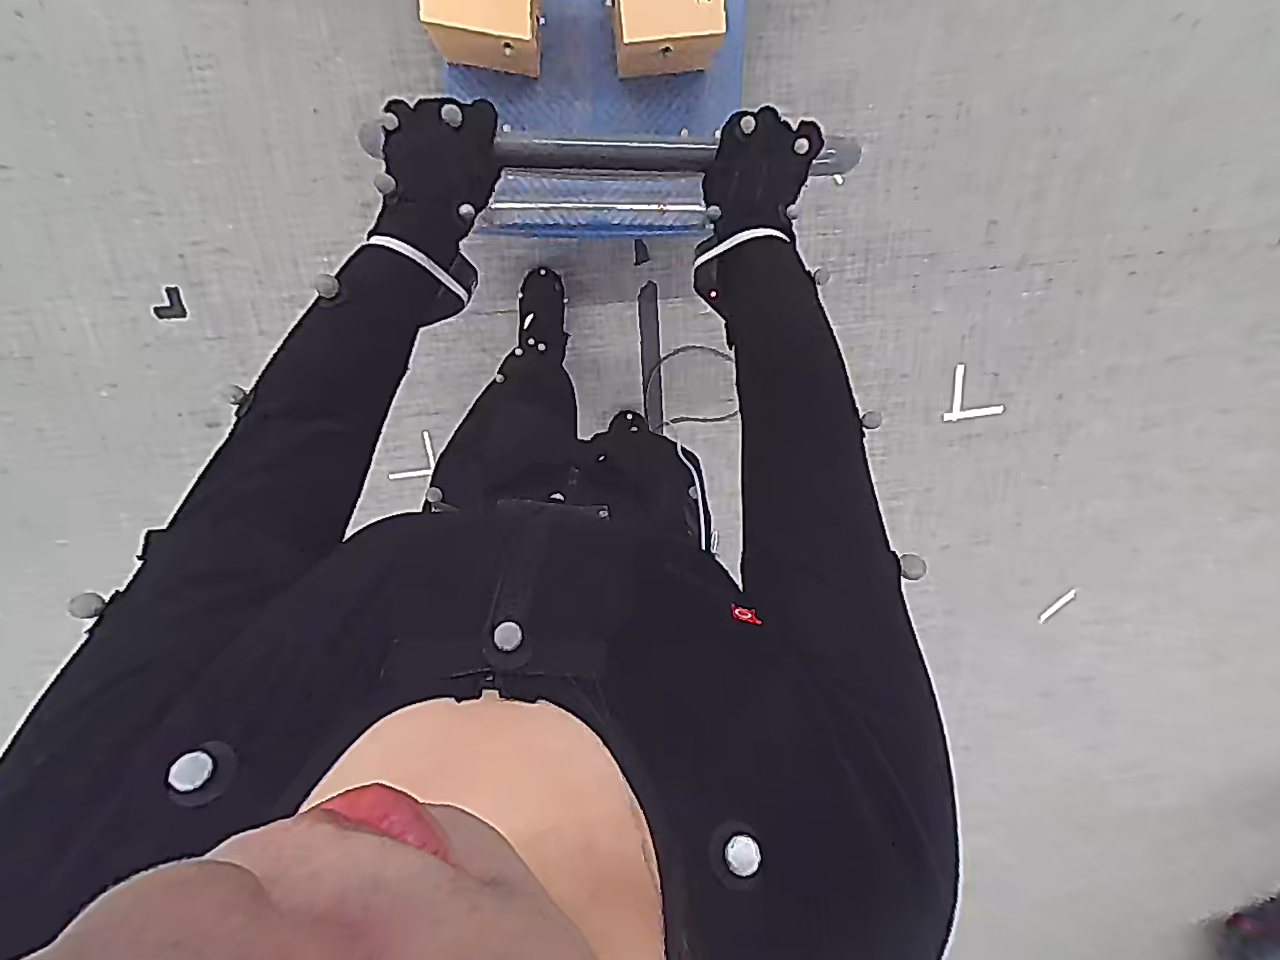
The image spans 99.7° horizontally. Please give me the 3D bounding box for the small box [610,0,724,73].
[{"bbox_3d":[0.039,-0.831,0.933,0.179,0.176,0.168,-8,111,-3],"label":"small box"}]

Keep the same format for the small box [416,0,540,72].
[{"bbox_3d":[-0.265,-0.820,0.908,0.179,0.176,0.168,3,110,-8],"label":"small box"}]
